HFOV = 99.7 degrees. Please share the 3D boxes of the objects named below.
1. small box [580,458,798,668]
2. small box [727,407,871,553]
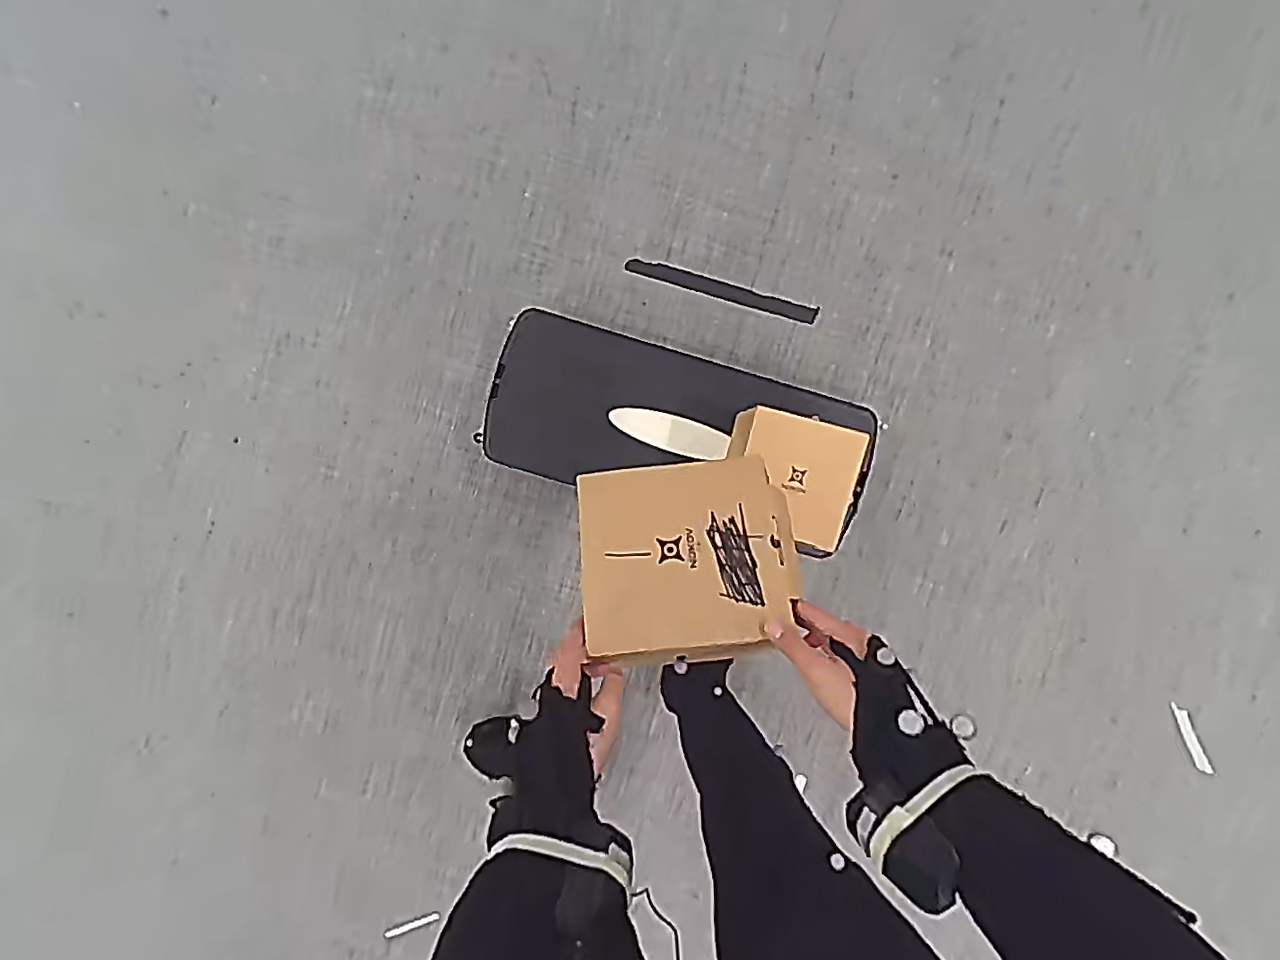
[{"bbox_3d":[0.040,0.092,0.540,0.179,0.176,0.168,-6,67,1],"label":"small box"},{"bbox_3d":[0.224,-0.005,0.841,0.168,0.176,0.179,15,95,0],"label":"small box"}]
